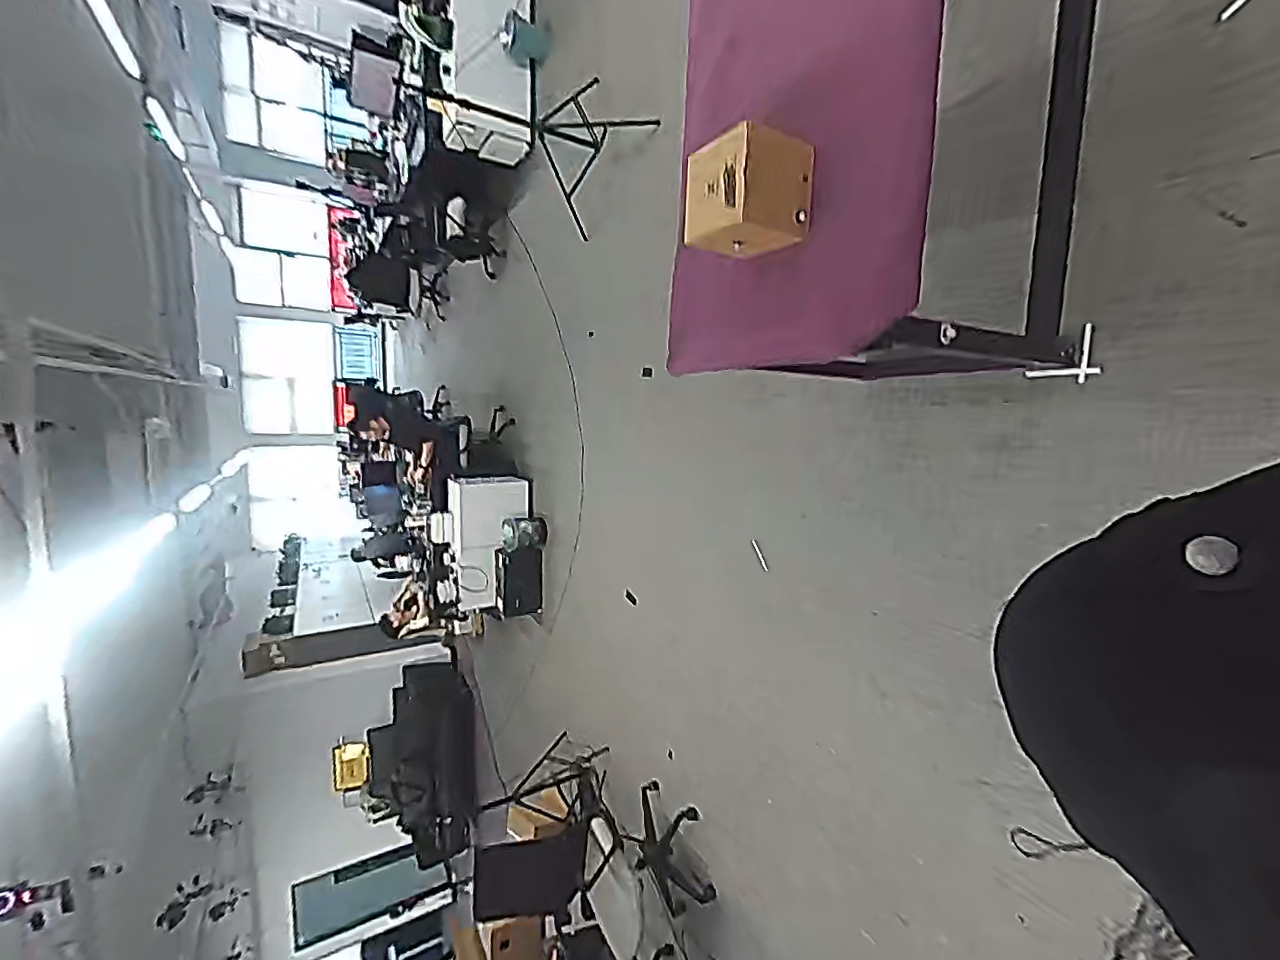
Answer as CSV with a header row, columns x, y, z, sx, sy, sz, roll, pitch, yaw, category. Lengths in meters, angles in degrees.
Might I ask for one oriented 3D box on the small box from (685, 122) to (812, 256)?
x,y,z,sx,sy,sz,roll,pitch,yaw,category
0.207,-0.545,1.038,0.179,0.176,0.168,14,104,58,small box
